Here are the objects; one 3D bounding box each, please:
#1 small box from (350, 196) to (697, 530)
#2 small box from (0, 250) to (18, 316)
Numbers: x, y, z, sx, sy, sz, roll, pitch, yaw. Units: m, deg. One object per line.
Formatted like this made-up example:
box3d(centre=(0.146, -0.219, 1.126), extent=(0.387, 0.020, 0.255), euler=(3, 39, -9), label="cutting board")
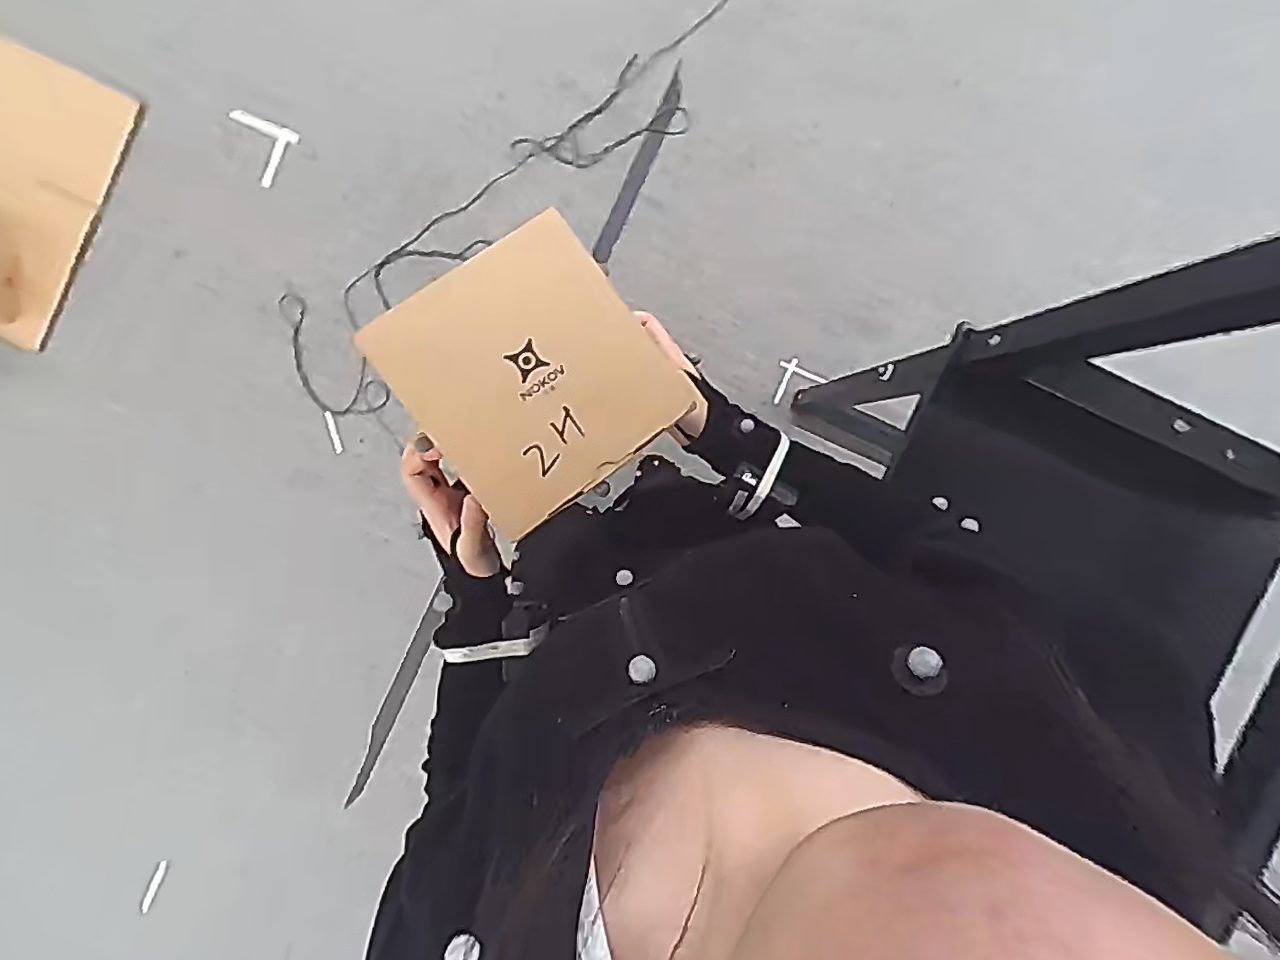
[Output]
box3d(centre=(-0.086, -0.075, 0.439), extent=(0.168, 0.176, 0.179), euler=(-37, 93, -8), label="small box")
box3d(centre=(-1.657, -0.497, 1.282), extent=(0.179, 0.176, 0.168), euler=(11, 93, -4), label="small box")
